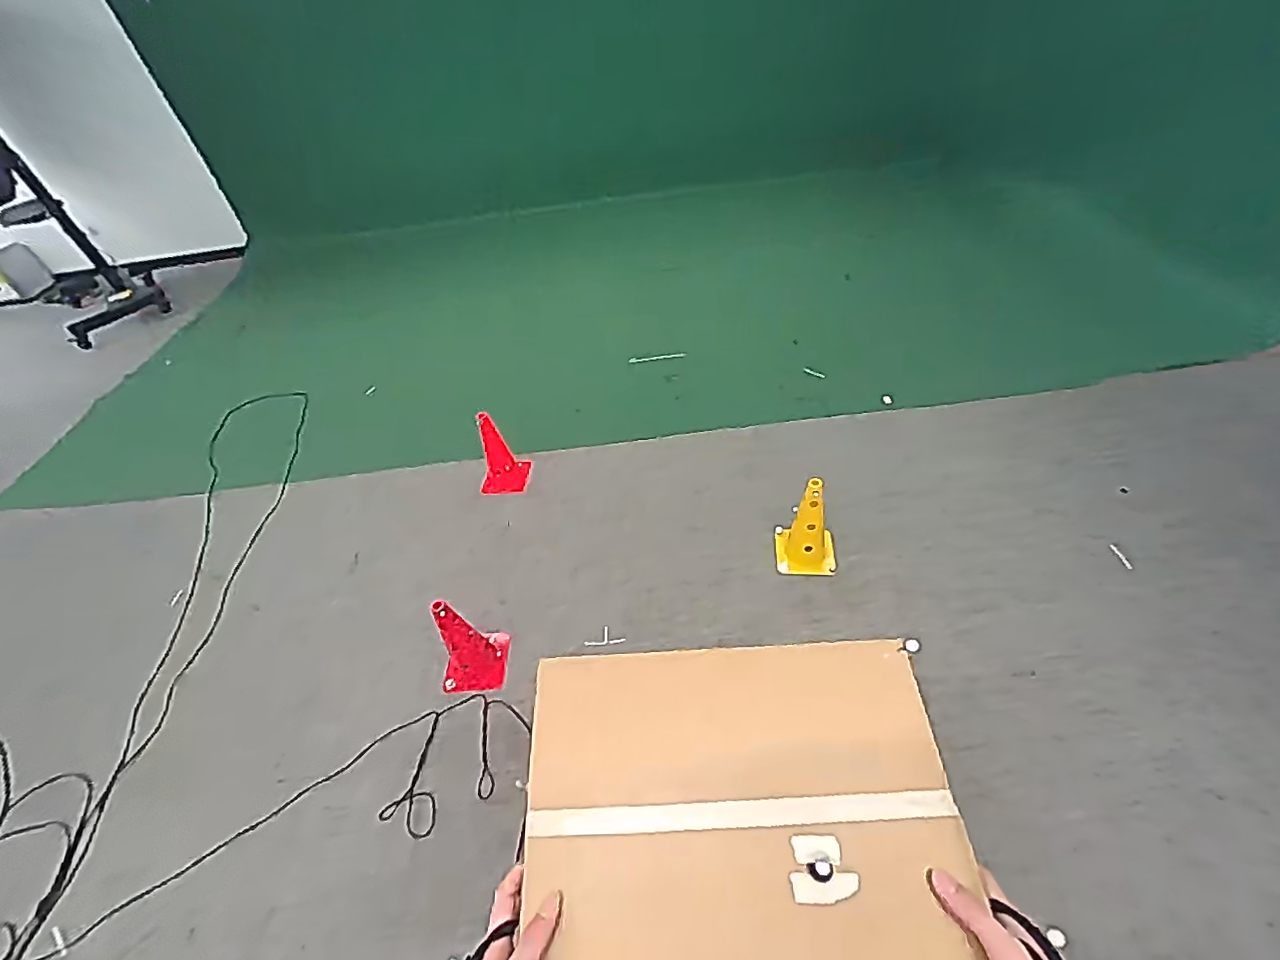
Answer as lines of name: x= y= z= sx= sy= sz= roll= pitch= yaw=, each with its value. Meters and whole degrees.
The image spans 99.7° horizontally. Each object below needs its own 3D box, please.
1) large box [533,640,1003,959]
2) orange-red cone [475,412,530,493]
large box: x=0.105 y=0.406 z=0.641 sx=0.408 sy=0.320 sz=0.320 roll=-4 pitch=56 yaw=1
orange-red cone: x=-0.621 y=-0.134 z=2.279 sx=0.199 sy=0.360 sz=0.198 roll=-3 pitch=45 yaw=9
